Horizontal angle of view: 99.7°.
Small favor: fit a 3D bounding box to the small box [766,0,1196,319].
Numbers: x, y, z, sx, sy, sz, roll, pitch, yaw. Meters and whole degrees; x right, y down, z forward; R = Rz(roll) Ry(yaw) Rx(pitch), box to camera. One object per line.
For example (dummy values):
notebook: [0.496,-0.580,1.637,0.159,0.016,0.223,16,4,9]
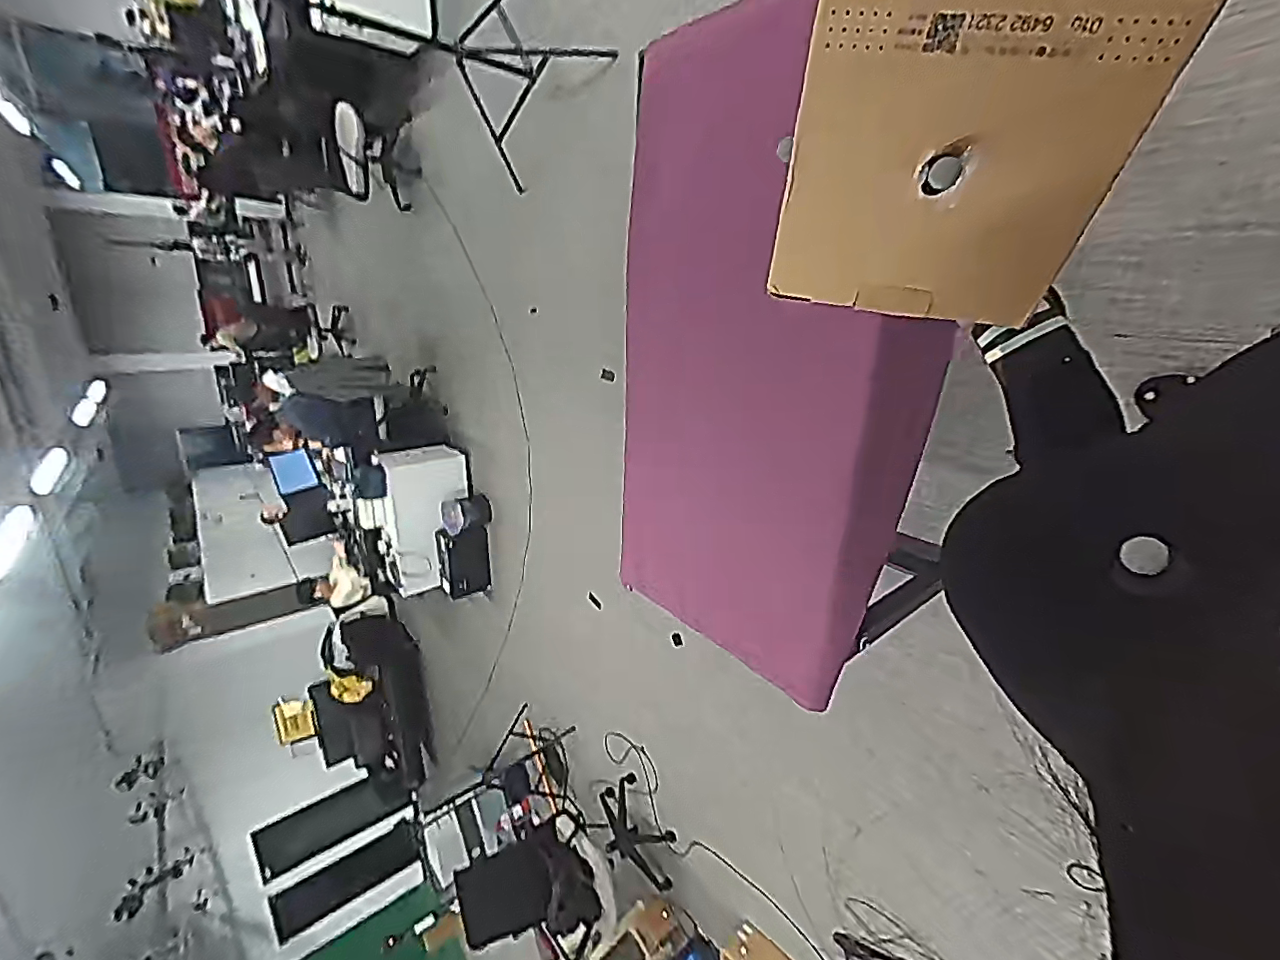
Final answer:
small box: [0.182,-0.228,0.335,0.168,0.179,0.176,13,141,13]
